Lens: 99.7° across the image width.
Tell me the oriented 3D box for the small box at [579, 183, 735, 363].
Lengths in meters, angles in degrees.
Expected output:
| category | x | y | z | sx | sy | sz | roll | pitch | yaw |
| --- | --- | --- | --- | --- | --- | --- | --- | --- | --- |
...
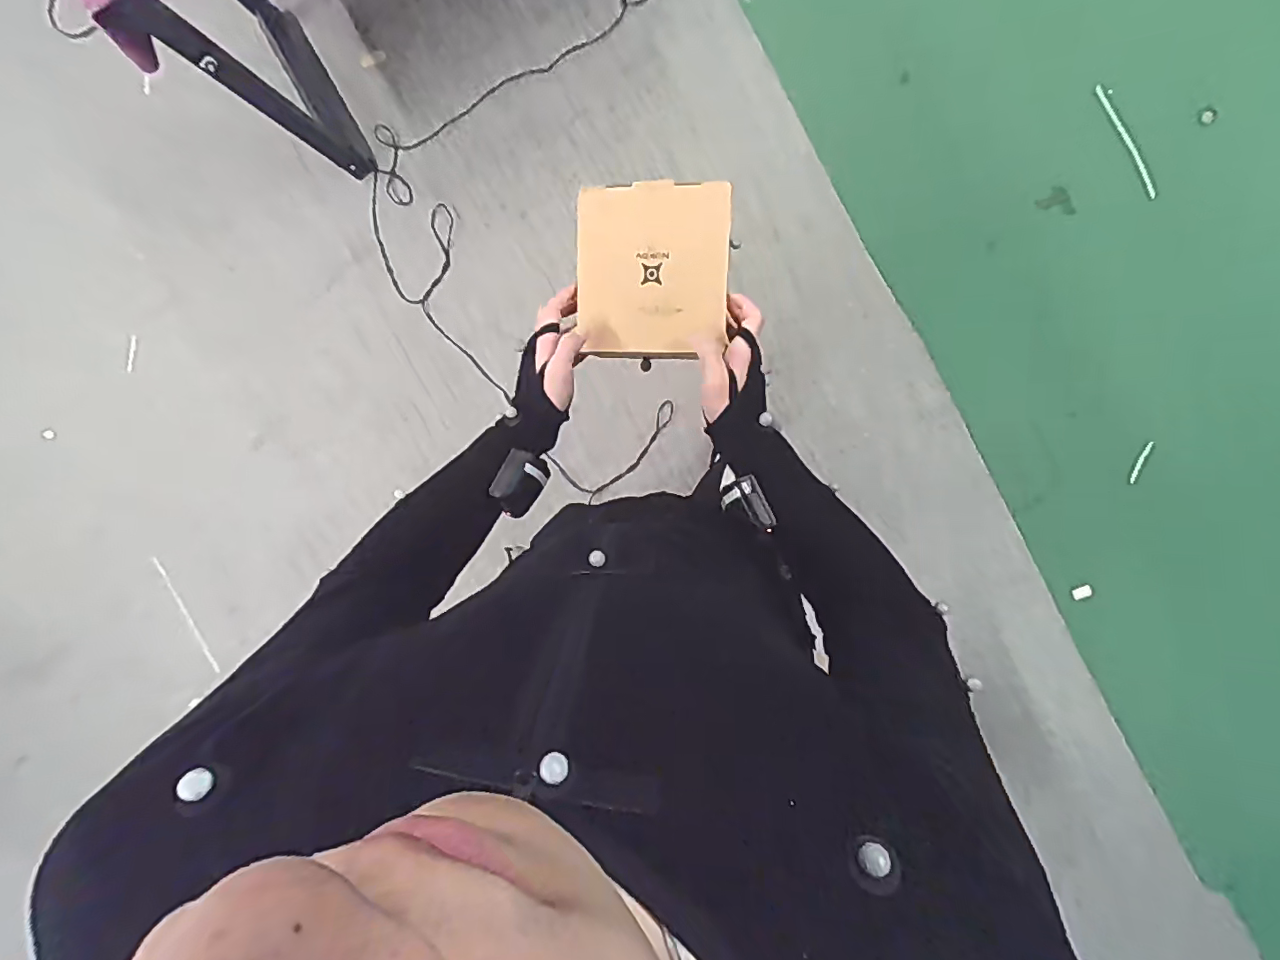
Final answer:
| category | x | y | z | sx | sy | sz | roll | pitch | yaw |
| --- | --- | --- | --- | --- | --- | --- | --- | --- | --- |
| small box | 0.023 | -0.237 | 0.658 | 0.168 | 0.176 | 0.179 | 2 | 100 | 6 |
